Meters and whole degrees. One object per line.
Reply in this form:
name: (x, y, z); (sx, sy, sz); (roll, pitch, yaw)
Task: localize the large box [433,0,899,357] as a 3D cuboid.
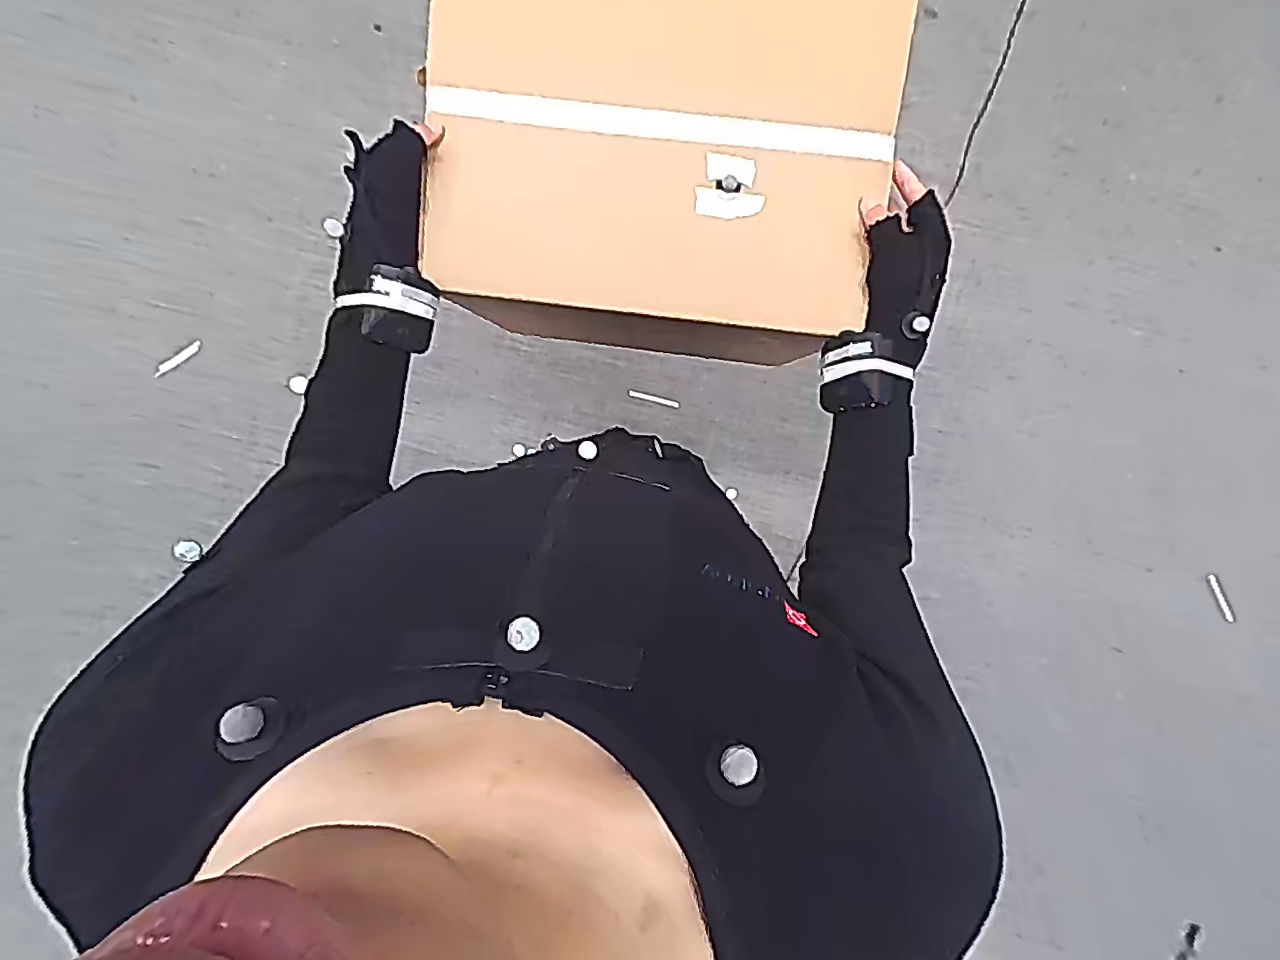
large box: (0.017, -0.331, 0.633); (0.408, 0.320, 0.320); (6, 98, 0)
